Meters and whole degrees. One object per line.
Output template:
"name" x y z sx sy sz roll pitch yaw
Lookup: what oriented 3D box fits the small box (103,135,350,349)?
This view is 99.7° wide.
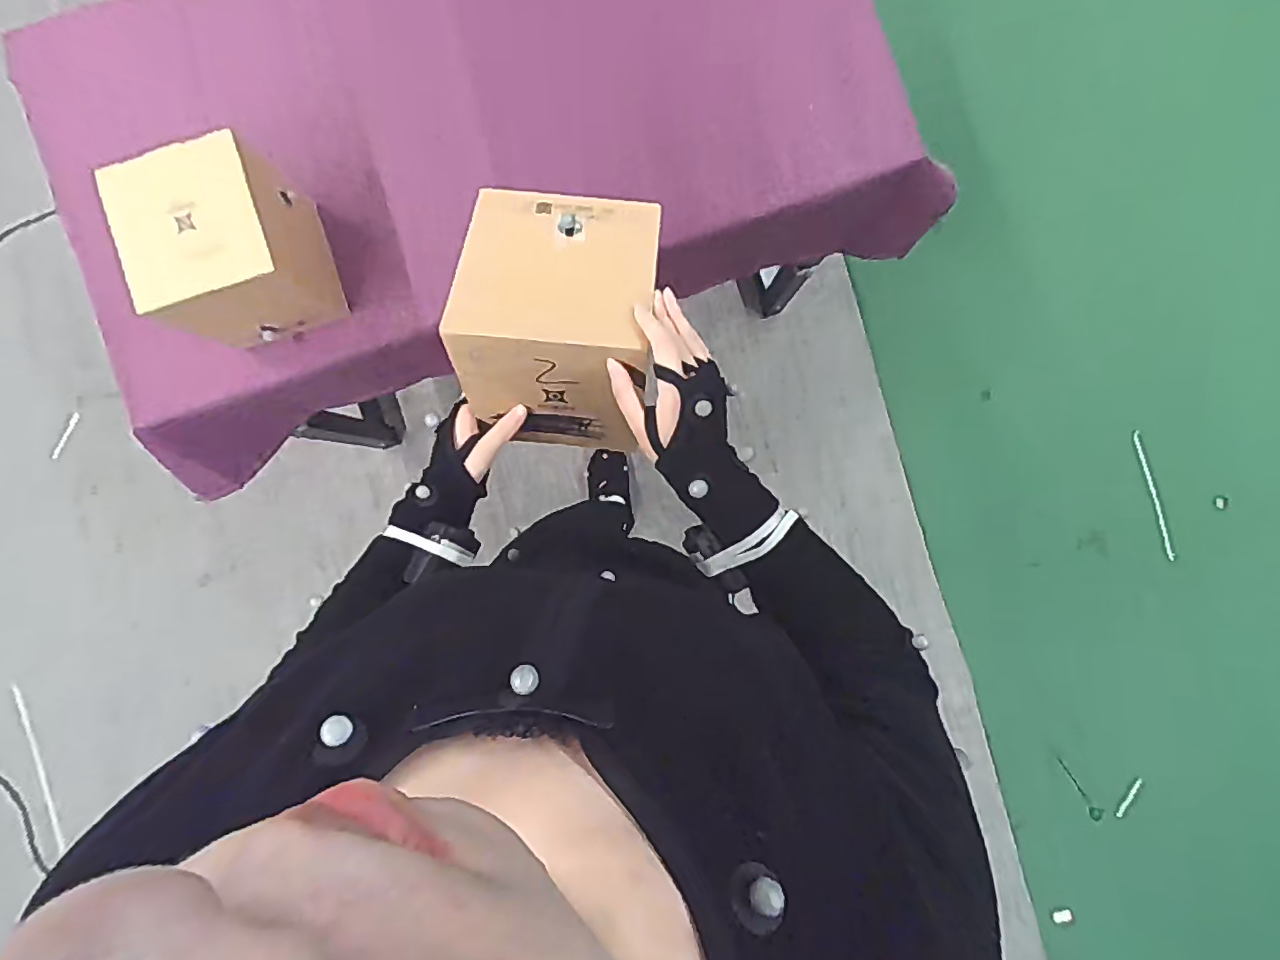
"small box" -0.515 -0.293 0.700 0.168 0.176 0.179 -17 89 0
